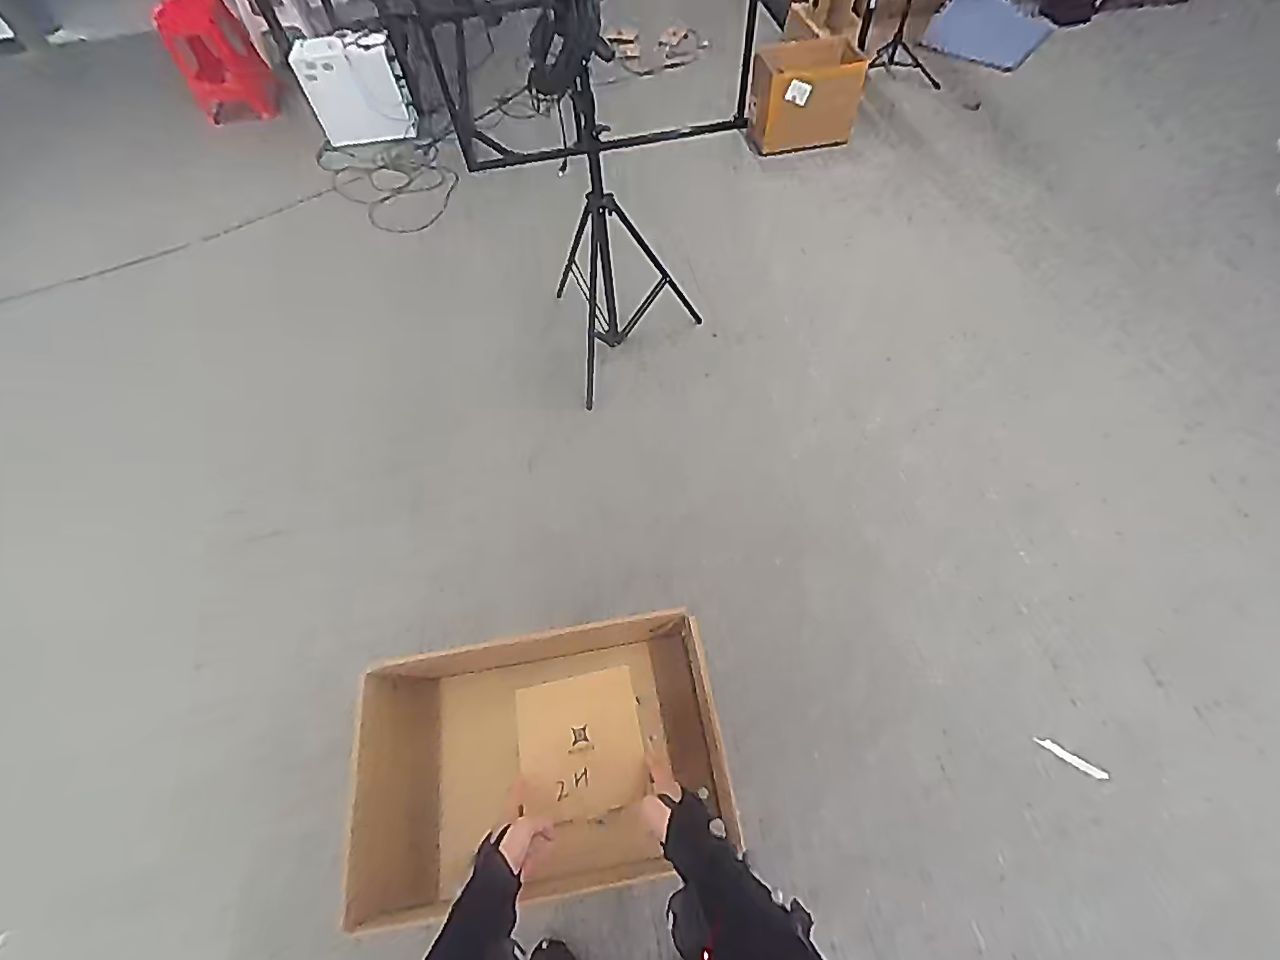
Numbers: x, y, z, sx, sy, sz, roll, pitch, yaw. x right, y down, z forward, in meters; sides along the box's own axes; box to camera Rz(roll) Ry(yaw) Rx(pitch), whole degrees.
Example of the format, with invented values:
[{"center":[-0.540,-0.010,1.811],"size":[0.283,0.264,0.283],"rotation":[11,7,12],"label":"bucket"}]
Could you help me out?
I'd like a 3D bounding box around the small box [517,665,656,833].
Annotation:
[{"center":[-0.074,0.393,0.786],"size":[0.168,0.176,0.179],"rotation":[-12,56,-3],"label":"small box"}]
